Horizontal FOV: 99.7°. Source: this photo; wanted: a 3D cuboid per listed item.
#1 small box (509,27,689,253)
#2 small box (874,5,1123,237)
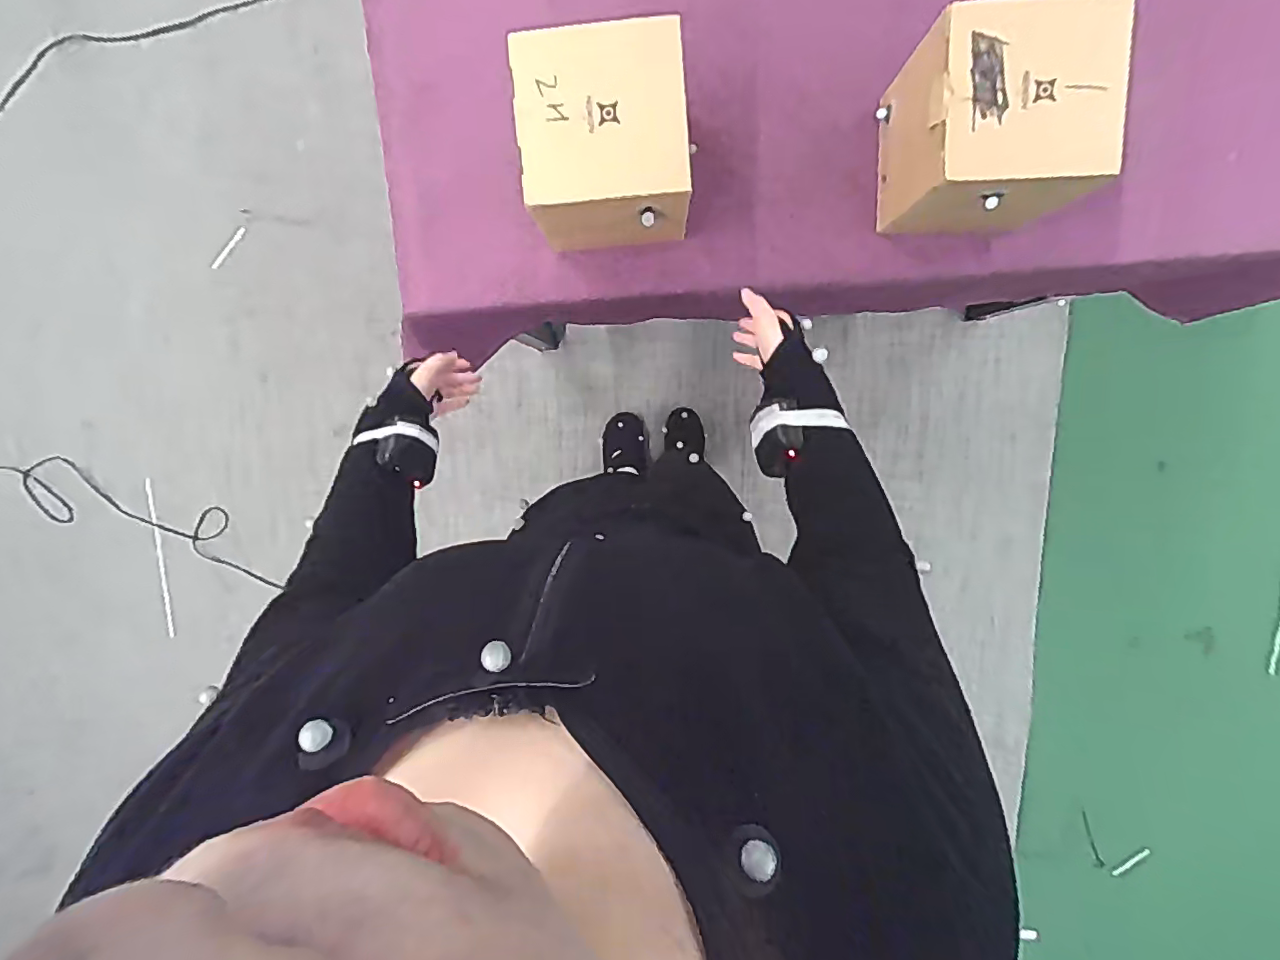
[{"bbox_3d":[-0.039,-0.376,0.630,0.179,0.176,0.168,-4,97,3],"label":"small box"},{"bbox_3d":[0.383,-0.386,0.613,0.179,0.176,0.168,-1,98,2],"label":"small box"}]
